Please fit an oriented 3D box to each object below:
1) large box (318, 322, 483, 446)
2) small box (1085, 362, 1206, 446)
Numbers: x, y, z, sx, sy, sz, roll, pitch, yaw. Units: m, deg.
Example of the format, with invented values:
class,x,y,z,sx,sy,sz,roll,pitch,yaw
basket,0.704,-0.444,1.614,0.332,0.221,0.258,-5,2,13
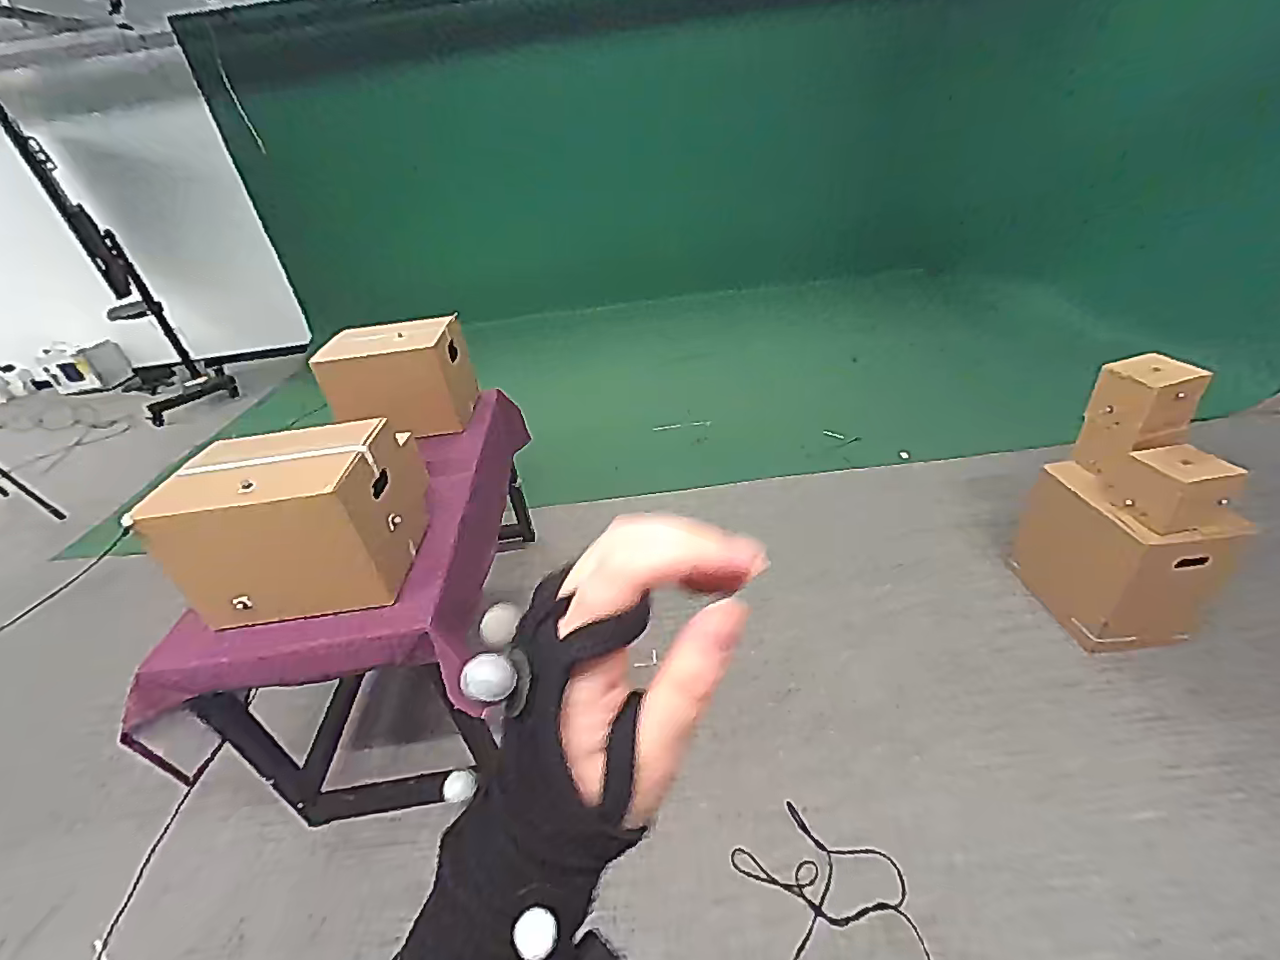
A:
class,x,y,z,sx,sy,sz,roll,pitch,yaw
large box,-0.810,-0.341,1.894,0.408,0.320,0.320,-6,34,1
small box,1.466,-0.222,1.582,0.179,0.176,0.168,-14,35,-6
